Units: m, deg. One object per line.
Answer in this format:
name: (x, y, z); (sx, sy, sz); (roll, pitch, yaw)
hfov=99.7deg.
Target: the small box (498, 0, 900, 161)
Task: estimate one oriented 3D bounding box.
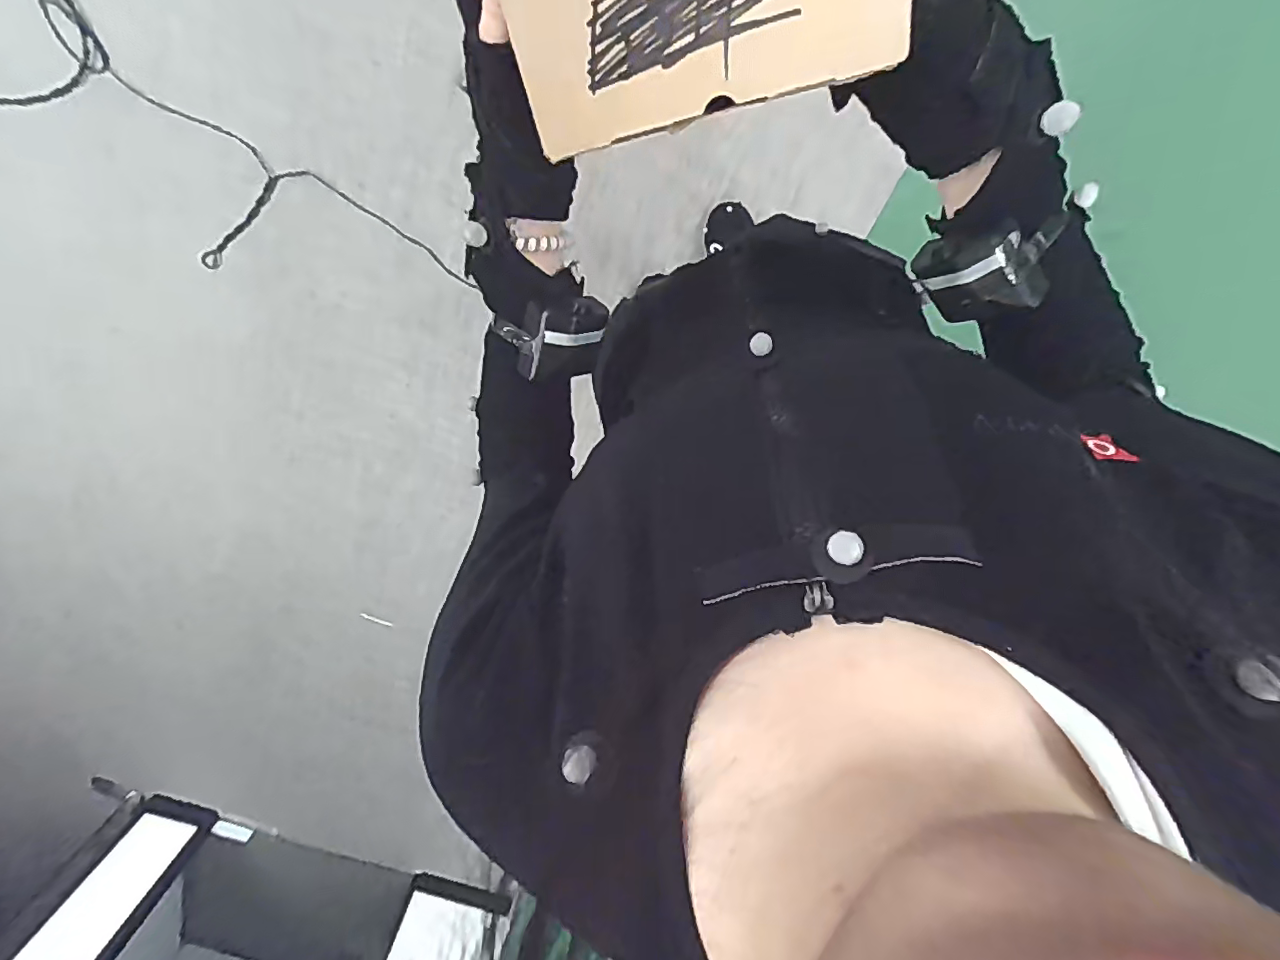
small box: (0.013, -0.282, 0.254); (0.168, 0.176, 0.179); (-11, 130, 6)
